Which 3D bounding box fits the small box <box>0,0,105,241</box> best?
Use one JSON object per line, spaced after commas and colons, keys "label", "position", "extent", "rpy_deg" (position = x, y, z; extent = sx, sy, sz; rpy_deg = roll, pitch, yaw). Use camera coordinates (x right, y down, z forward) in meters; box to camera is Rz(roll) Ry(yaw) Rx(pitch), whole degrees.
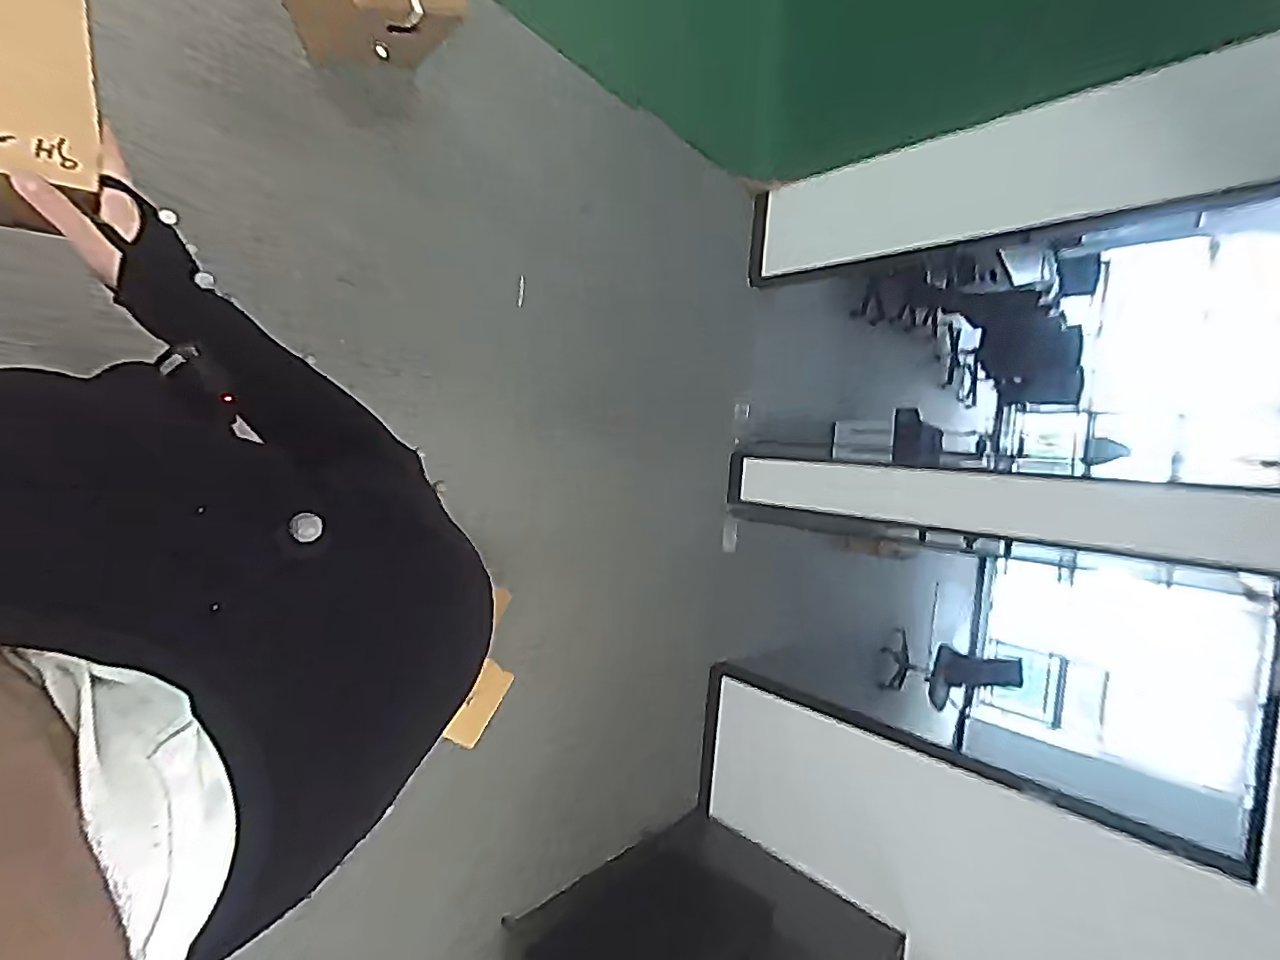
{"label": "small box", "position": [-0.586, -0.330, 0.464], "extent": [0.168, 0.176, 0.179], "rpy_deg": [-7, 99, -45]}

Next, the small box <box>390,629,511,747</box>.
{"label": "small box", "position": [-0.440, 0.470, 1.237], "extent": [0.168, 0.176, 0.179], "rpy_deg": [51, 58, -38]}
